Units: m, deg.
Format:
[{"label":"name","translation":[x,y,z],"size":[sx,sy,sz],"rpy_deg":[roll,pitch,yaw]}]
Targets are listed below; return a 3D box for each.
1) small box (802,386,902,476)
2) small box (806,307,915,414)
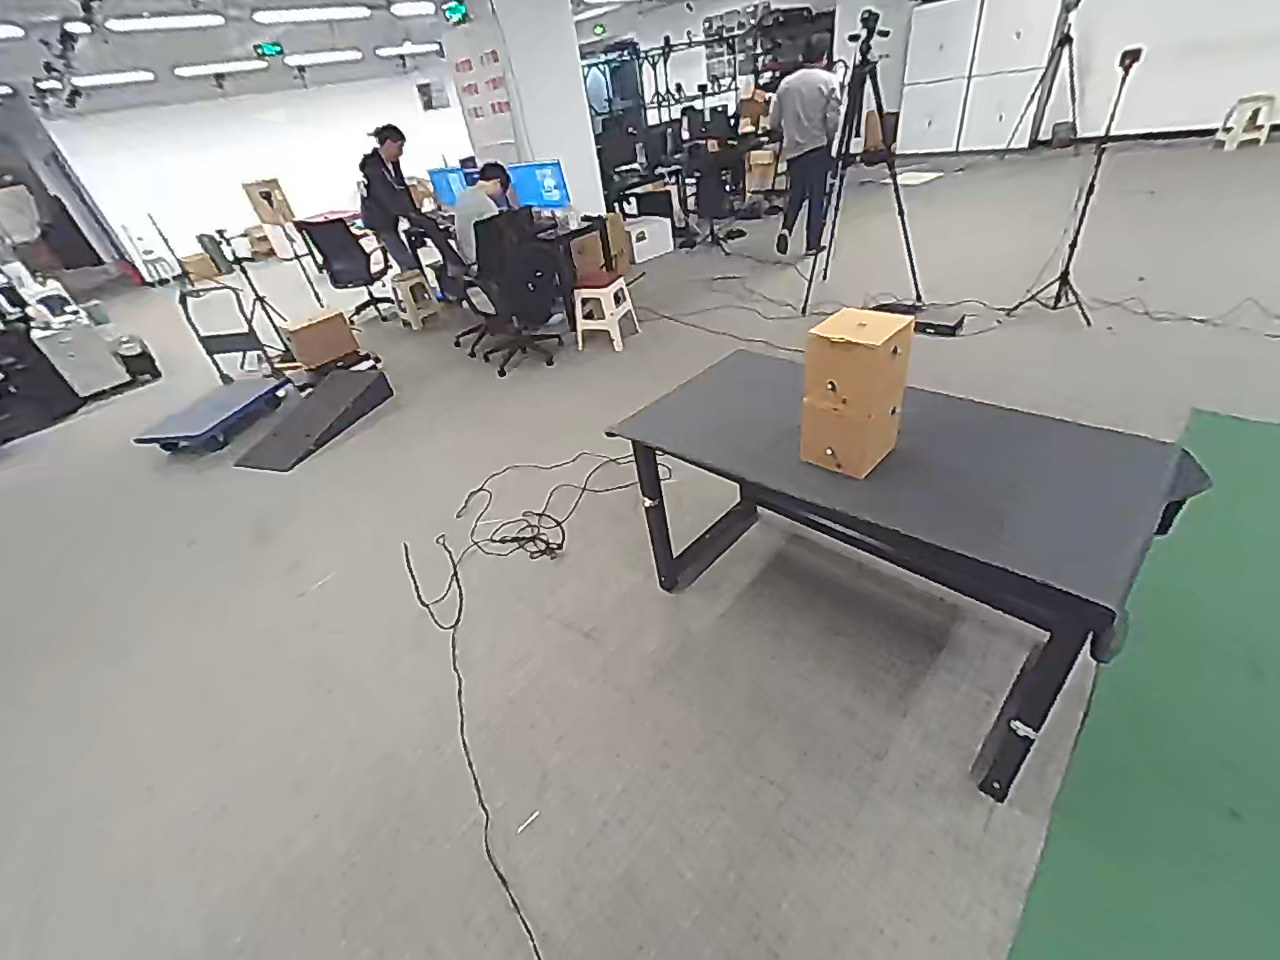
[{"label":"small box","translation":[0.506,-0.138,1.311],"size":[0.168,0.176,0.179],"rpy_deg":[25,47,39]},{"label":"small box","translation":[0.489,-0.272,1.221],"size":[0.168,0.176,0.179],"rpy_deg":[26,48,38]}]
